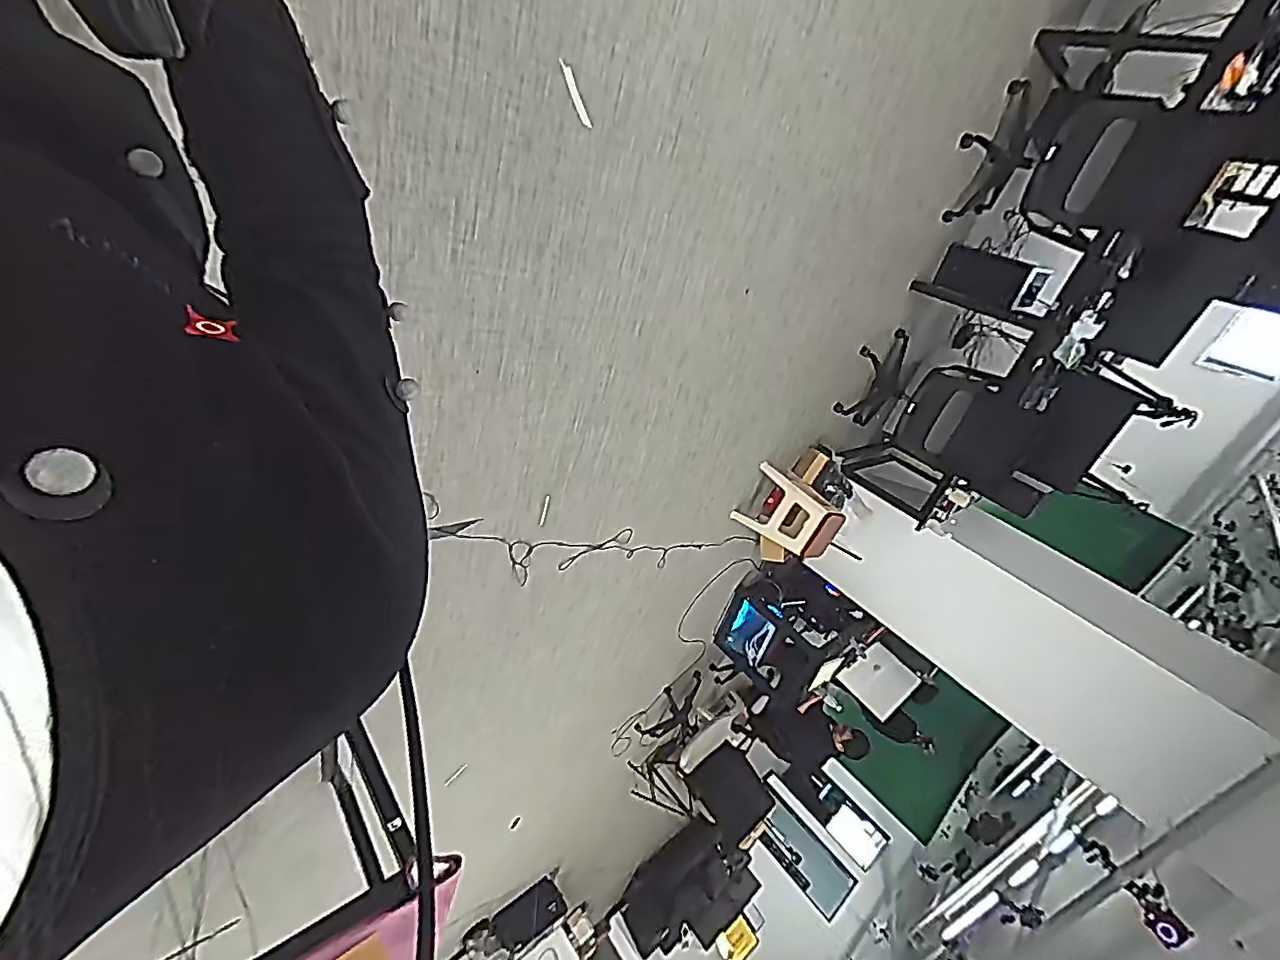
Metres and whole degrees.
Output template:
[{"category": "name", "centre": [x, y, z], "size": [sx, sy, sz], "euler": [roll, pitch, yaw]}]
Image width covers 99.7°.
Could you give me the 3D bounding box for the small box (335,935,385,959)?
[{"category": "small box", "centre": [-0.729, 1.320, 1.376], "size": [0.168, 0.176, 0.179], "euler": [-17, 134, -38]}]
